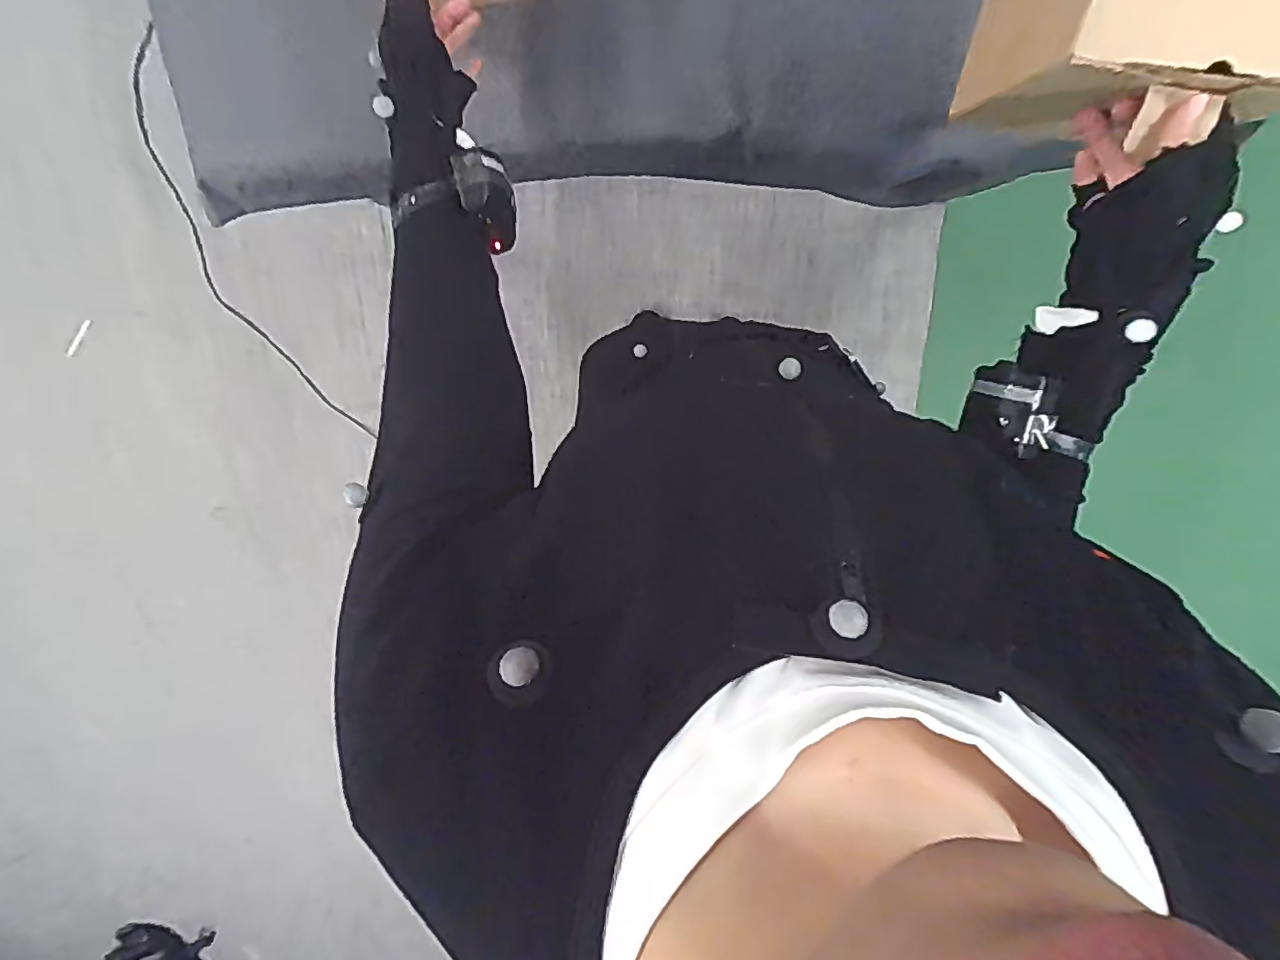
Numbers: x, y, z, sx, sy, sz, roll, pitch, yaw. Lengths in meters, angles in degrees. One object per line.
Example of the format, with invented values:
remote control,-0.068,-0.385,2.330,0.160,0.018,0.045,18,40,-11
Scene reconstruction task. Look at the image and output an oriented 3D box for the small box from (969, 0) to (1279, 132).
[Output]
small box,0.344,-0.337,0.339,0.168,0.176,0.179,9,116,2
